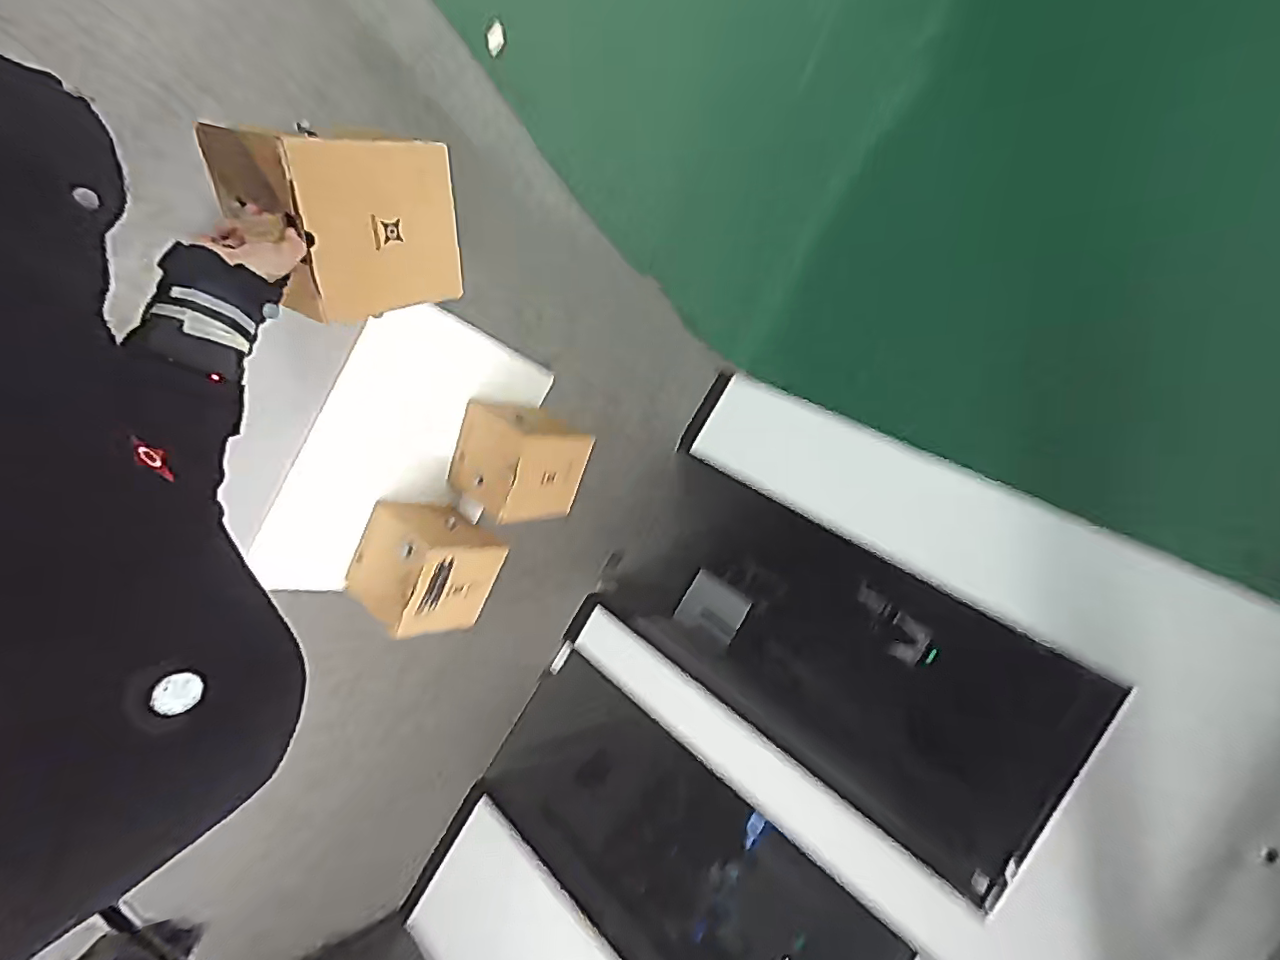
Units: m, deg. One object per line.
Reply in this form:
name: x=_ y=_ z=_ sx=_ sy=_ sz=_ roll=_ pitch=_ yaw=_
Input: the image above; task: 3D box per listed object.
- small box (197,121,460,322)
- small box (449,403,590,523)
small box: x=-0.332 y=-0.294 z=0.601 sx=0.179 sy=0.176 sz=0.168 roll=-36 pitch=142 yaw=-43
small box: x=-0.231 y=-0.038 z=1.020 sx=0.179 sy=0.176 sz=0.168 roll=-7 pitch=124 yaw=-55
